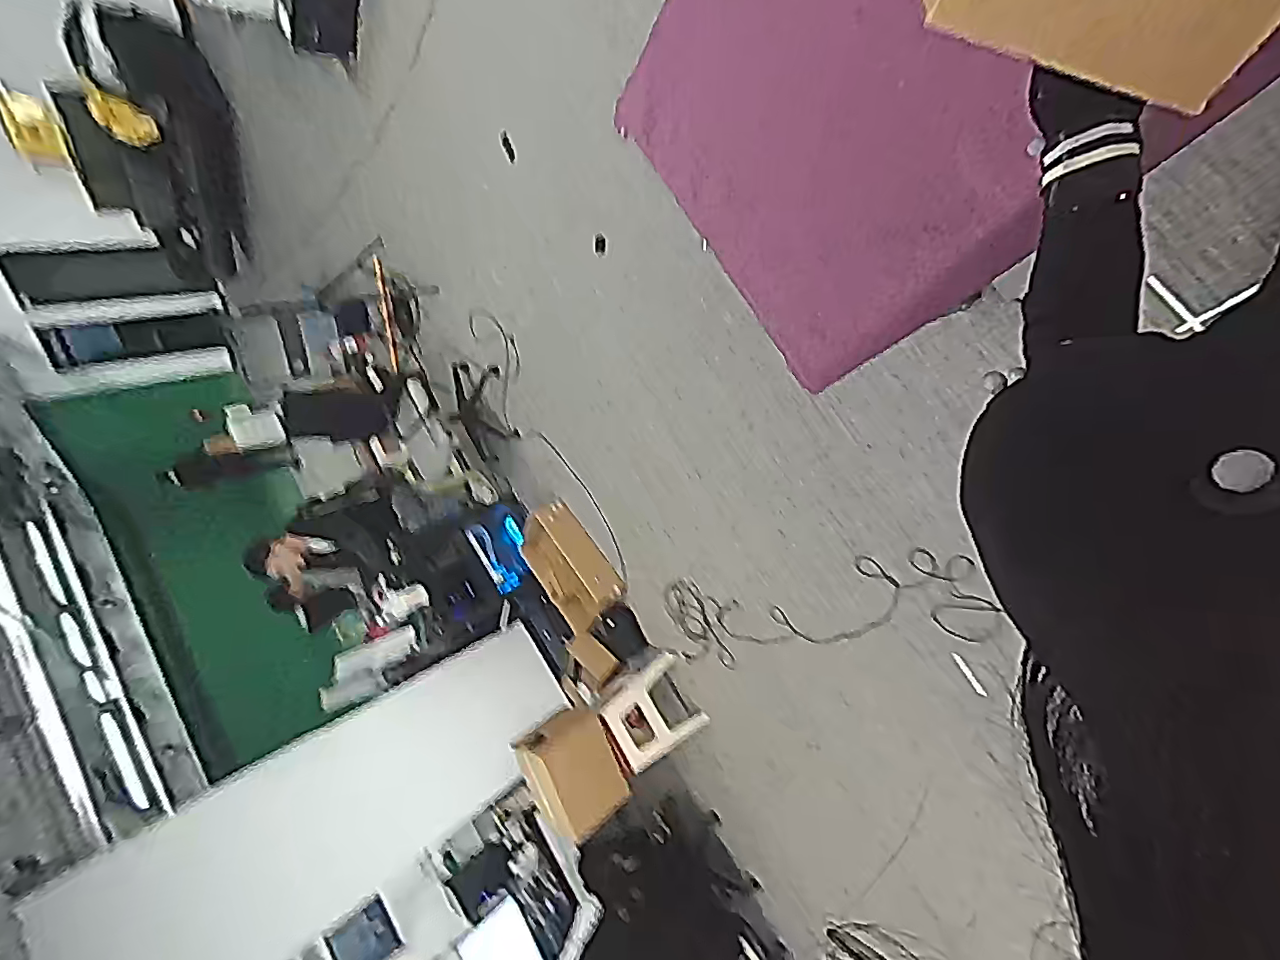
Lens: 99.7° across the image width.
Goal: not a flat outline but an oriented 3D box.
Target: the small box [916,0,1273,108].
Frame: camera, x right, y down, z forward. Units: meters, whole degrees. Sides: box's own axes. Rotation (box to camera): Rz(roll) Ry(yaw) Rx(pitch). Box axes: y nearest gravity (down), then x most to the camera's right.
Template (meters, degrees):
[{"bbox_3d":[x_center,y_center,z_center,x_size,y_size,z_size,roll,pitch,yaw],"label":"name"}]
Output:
[{"bbox_3d":[0.270,-0.343,0.283,0.168,0.179,0.176,18,145,2],"label":"small box"}]
